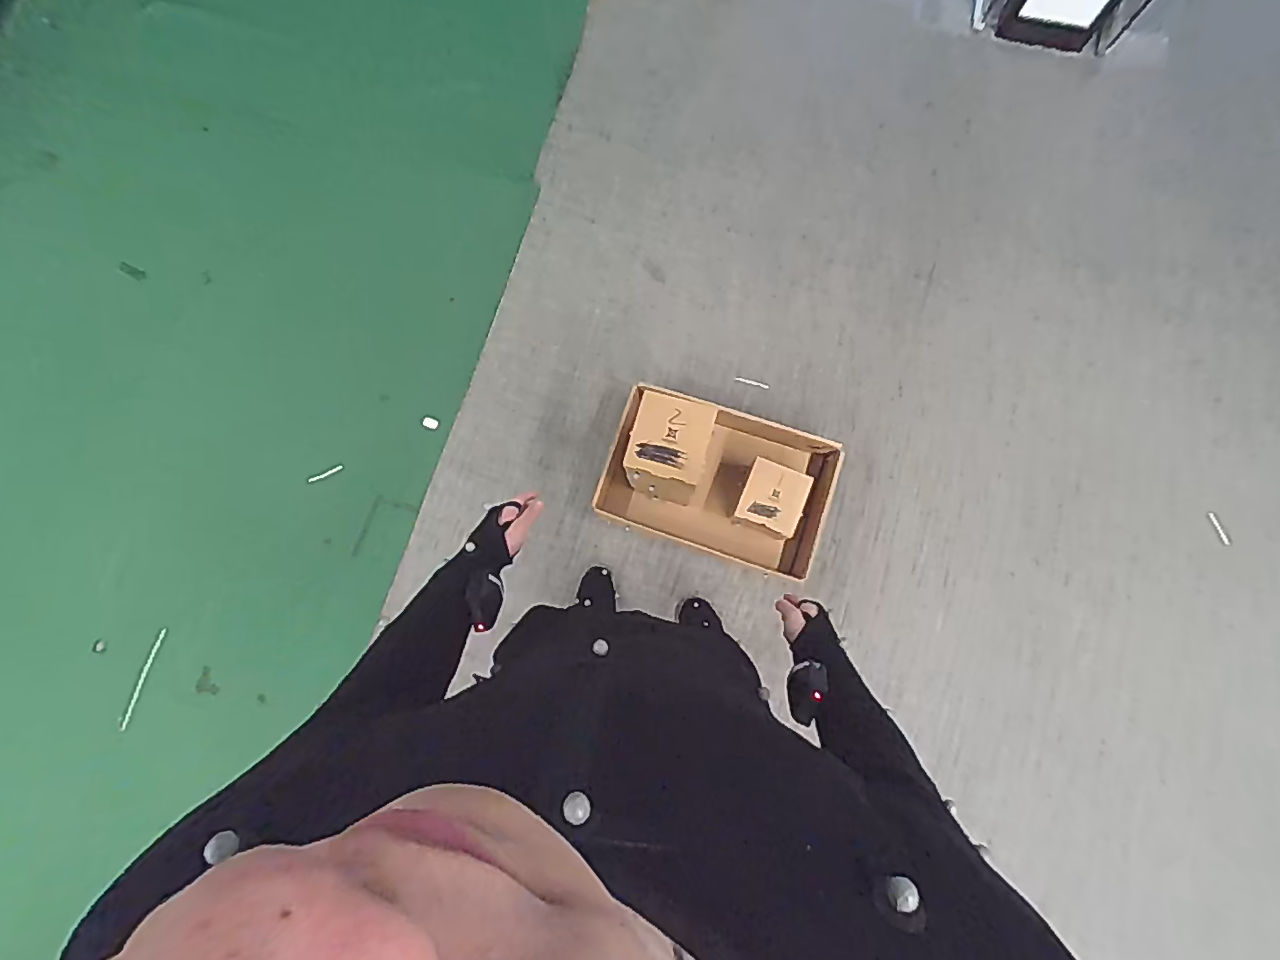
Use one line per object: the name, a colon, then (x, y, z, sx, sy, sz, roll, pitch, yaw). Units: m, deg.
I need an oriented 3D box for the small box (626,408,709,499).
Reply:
small box: (0.069, -0.063, 1.391, 0.168, 0.176, 0.179, 16, 82, 5)
